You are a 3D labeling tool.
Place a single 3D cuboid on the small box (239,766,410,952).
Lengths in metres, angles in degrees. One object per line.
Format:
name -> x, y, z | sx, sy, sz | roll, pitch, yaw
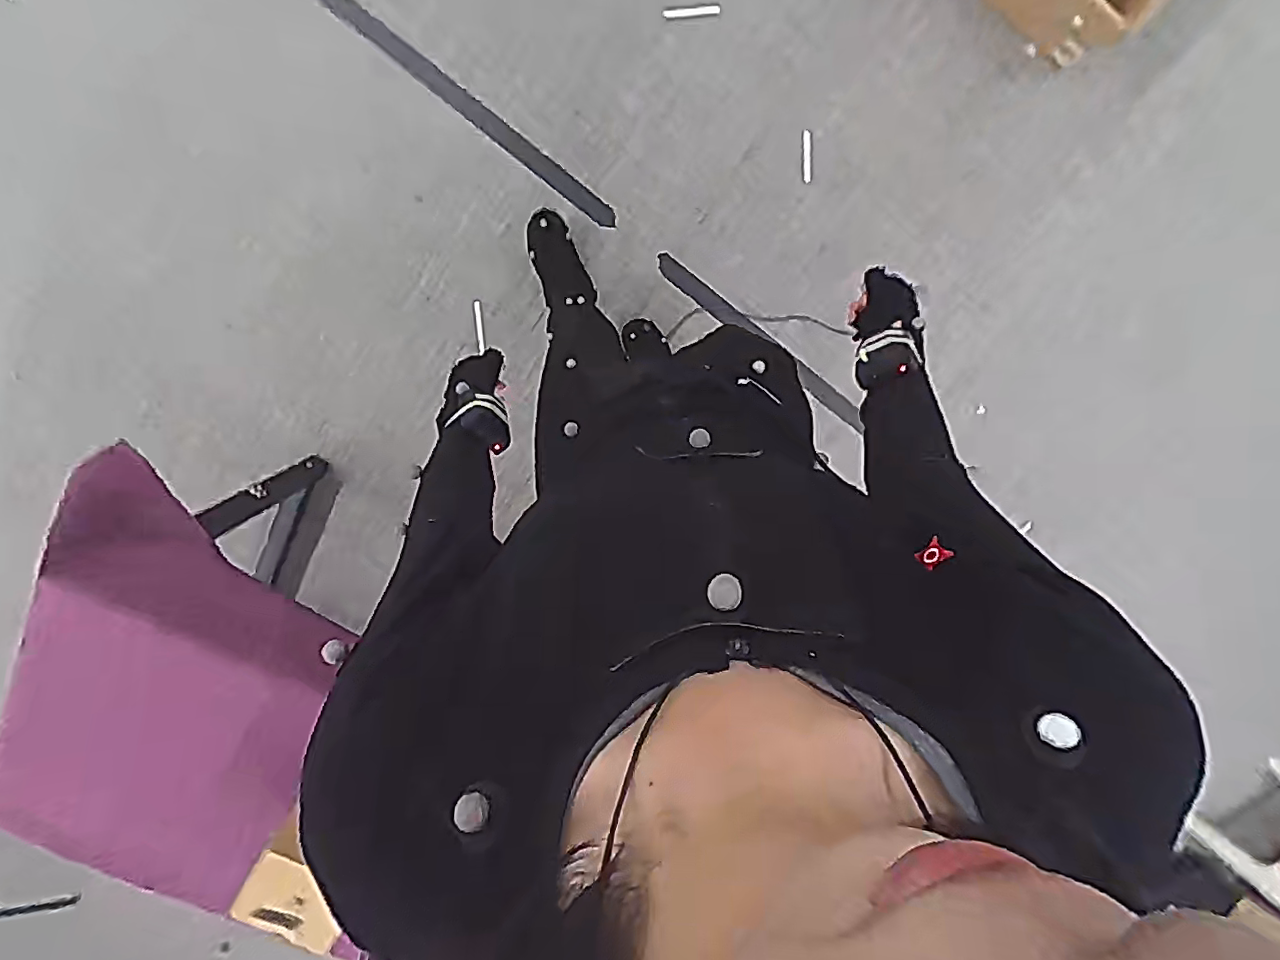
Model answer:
small box -> -0.527, 0.640, 0.926 | 0.168, 0.176, 0.179 | 31, 107, -9
